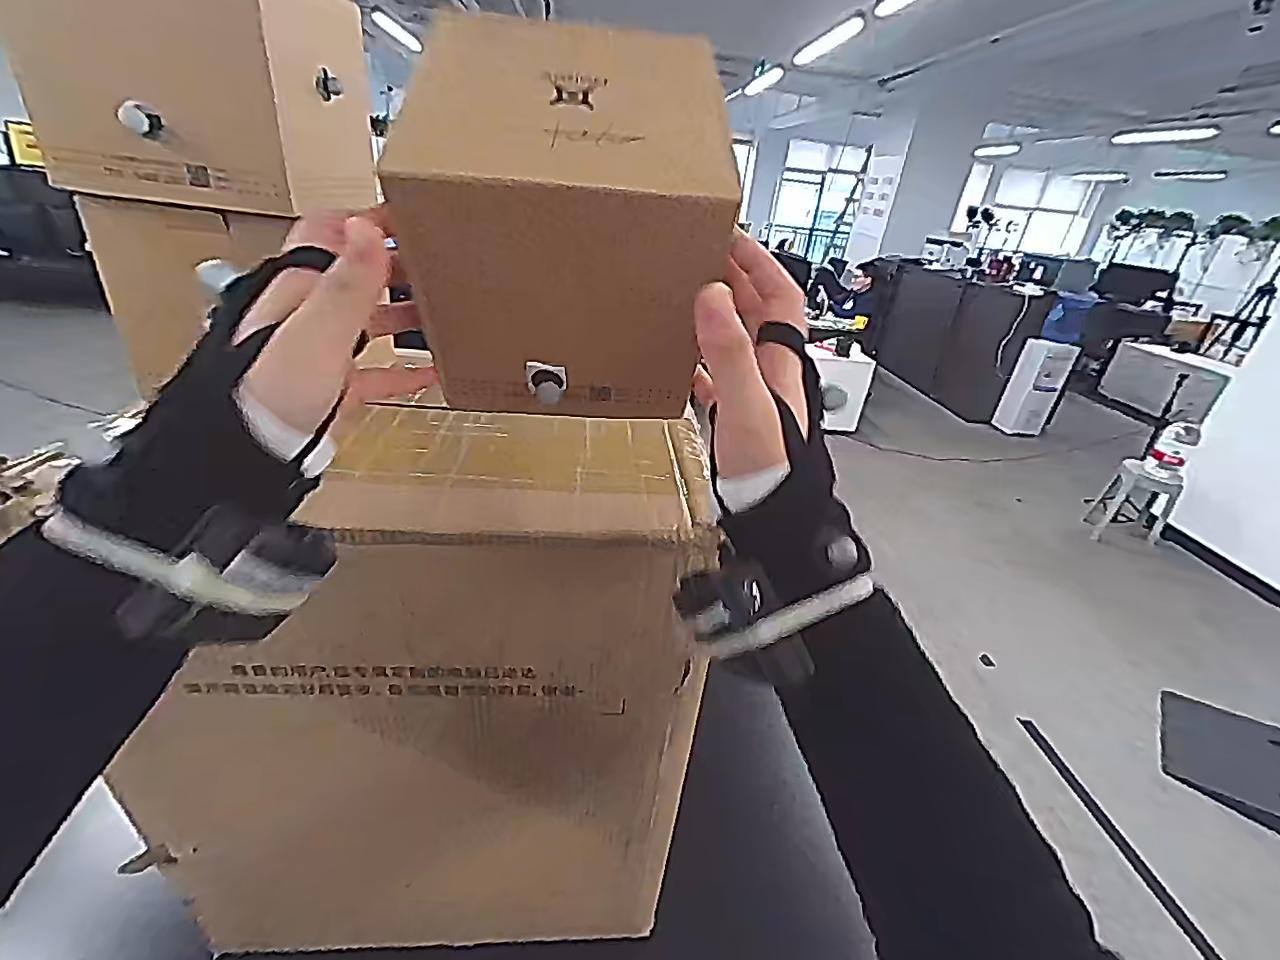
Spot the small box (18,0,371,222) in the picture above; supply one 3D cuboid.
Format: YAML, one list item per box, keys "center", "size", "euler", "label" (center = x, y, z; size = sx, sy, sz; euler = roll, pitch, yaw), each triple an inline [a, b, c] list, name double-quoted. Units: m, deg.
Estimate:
- center: [-0.334, -0.314, 0.436]
  size: [0.168, 0.176, 0.179]
  euler: [4, 28, -6]
  label: "small box"

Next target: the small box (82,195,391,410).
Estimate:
- center: [-0.356, -0.177, 0.527]
  size: [0.168, 0.176, 0.179]
  euler: [4, 28, -7]
  label: "small box"
